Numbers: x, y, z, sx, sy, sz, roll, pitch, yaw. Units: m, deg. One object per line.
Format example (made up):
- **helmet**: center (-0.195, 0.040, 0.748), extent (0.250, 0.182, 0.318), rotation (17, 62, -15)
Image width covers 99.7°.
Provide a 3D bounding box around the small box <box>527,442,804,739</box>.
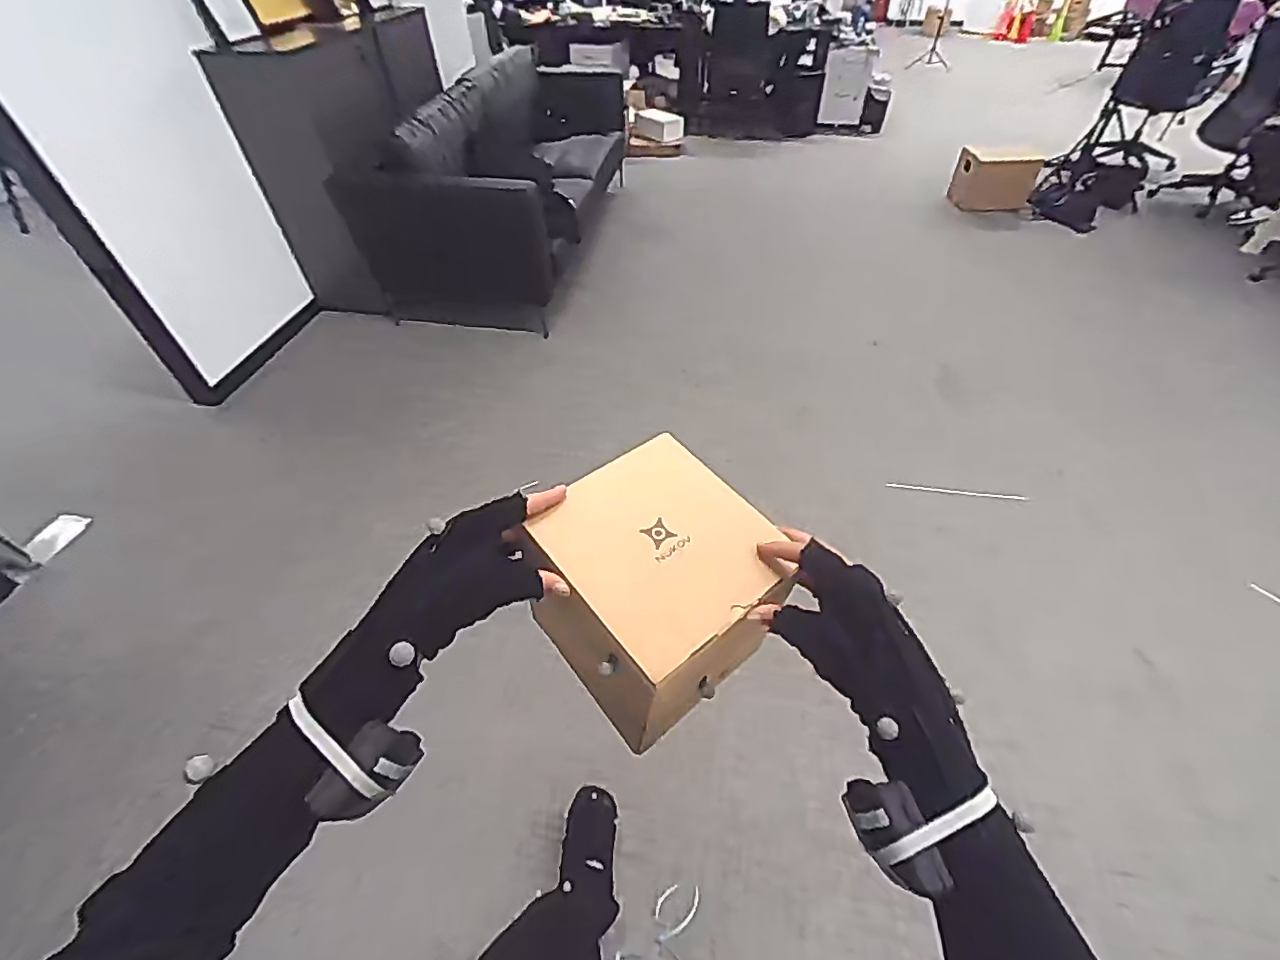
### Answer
- **small box**: center (0.012, 0.102, 0.502), extent (0.168, 0.176, 0.179), rotation (-30, 59, -28)
